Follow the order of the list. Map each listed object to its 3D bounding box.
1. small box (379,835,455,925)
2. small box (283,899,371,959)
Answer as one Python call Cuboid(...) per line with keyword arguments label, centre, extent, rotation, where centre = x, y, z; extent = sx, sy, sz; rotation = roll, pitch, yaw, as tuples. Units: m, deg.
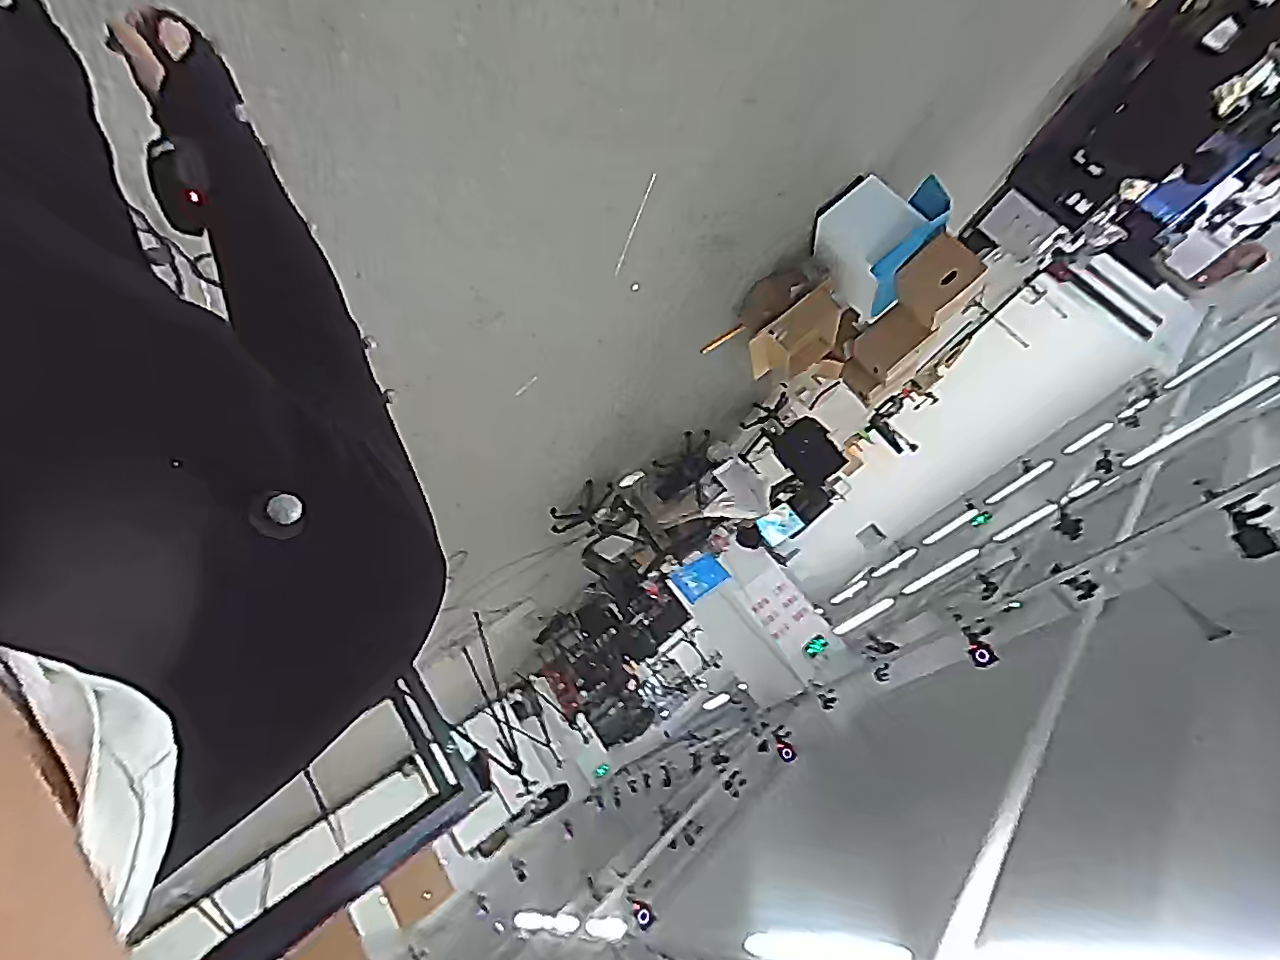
Cuboid(label="small box", centre=(-0.732, 1.303, 1.772), extent=(0.179, 0.176, 0.168), rotation=(-25, 159, -35))
Cuboid(label="small box", centre=(-0.924, 1.384, 1.603), extent=(0.179, 0.176, 0.168), rotation=(-24, 159, -38))
